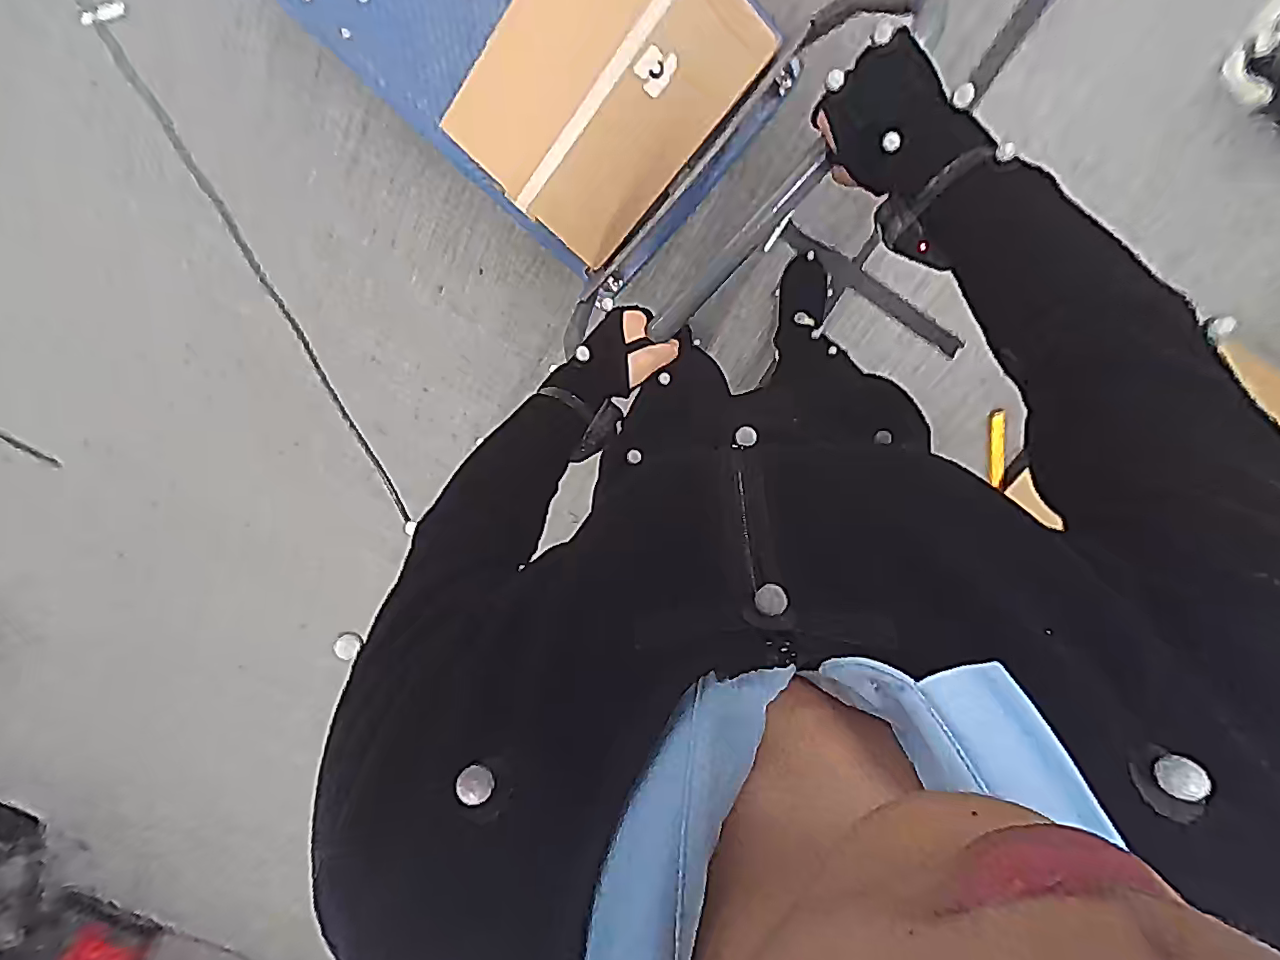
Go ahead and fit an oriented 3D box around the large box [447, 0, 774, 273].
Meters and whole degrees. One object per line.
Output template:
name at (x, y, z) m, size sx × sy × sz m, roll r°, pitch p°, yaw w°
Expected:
large box at (-0.045, -0.628, 0.914) m, size 0.320 × 0.320 × 0.408 m, roll 39°, pitch 113°, yaw -17°
